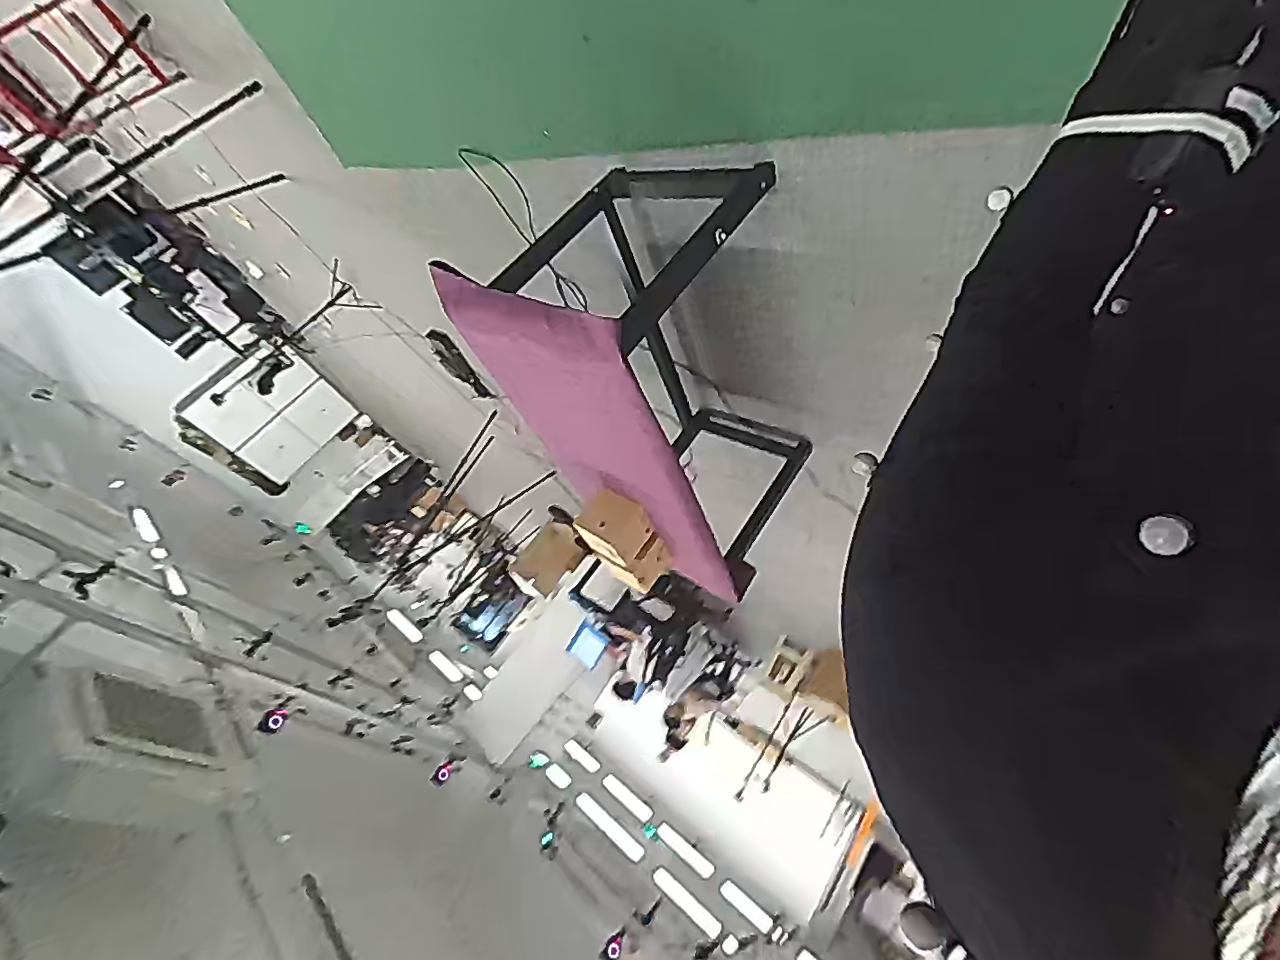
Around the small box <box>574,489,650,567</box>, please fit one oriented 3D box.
[{"bbox_3d":[-0.084,0.156,1.821,0.179,0.176,0.168,25,156,35],"label":"small box"}]

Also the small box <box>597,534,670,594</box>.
[{"bbox_3d":[-0.020,0.282,1.982,0.179,0.176,0.168,24,156,35],"label":"small box"}]
